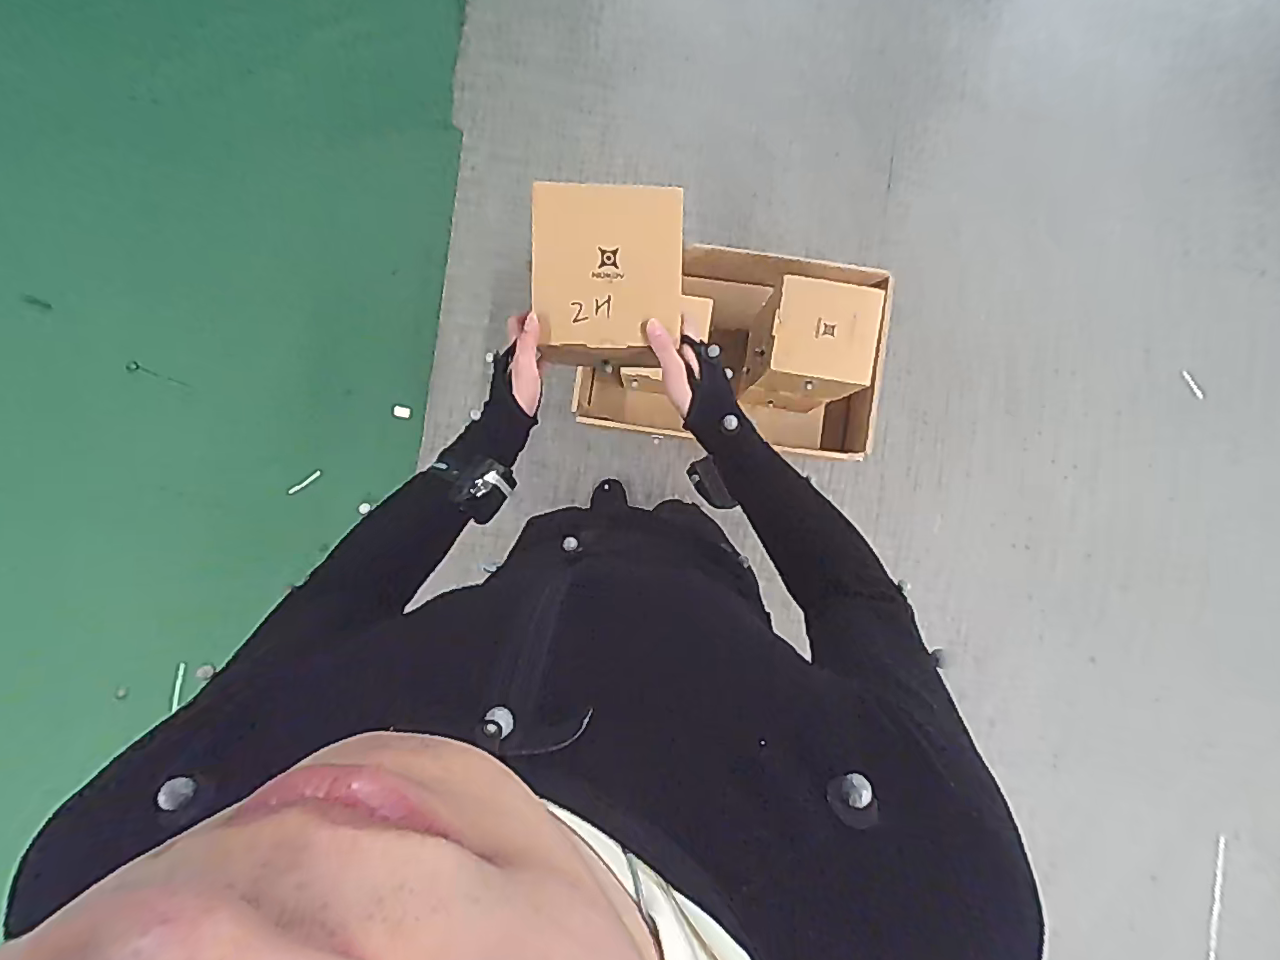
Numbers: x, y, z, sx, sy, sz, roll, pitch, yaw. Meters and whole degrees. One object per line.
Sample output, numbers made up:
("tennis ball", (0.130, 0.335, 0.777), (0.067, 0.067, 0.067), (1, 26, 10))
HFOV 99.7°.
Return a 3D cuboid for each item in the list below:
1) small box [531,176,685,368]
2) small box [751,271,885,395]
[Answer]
("small box", (-0.041, -0.239, 0.663), (0.168, 0.176, 0.179), (1, 94, -4))
("small box", (0.311, -0.257, 0.984), (0.179, 0.176, 0.168), (10, 90, 0))
